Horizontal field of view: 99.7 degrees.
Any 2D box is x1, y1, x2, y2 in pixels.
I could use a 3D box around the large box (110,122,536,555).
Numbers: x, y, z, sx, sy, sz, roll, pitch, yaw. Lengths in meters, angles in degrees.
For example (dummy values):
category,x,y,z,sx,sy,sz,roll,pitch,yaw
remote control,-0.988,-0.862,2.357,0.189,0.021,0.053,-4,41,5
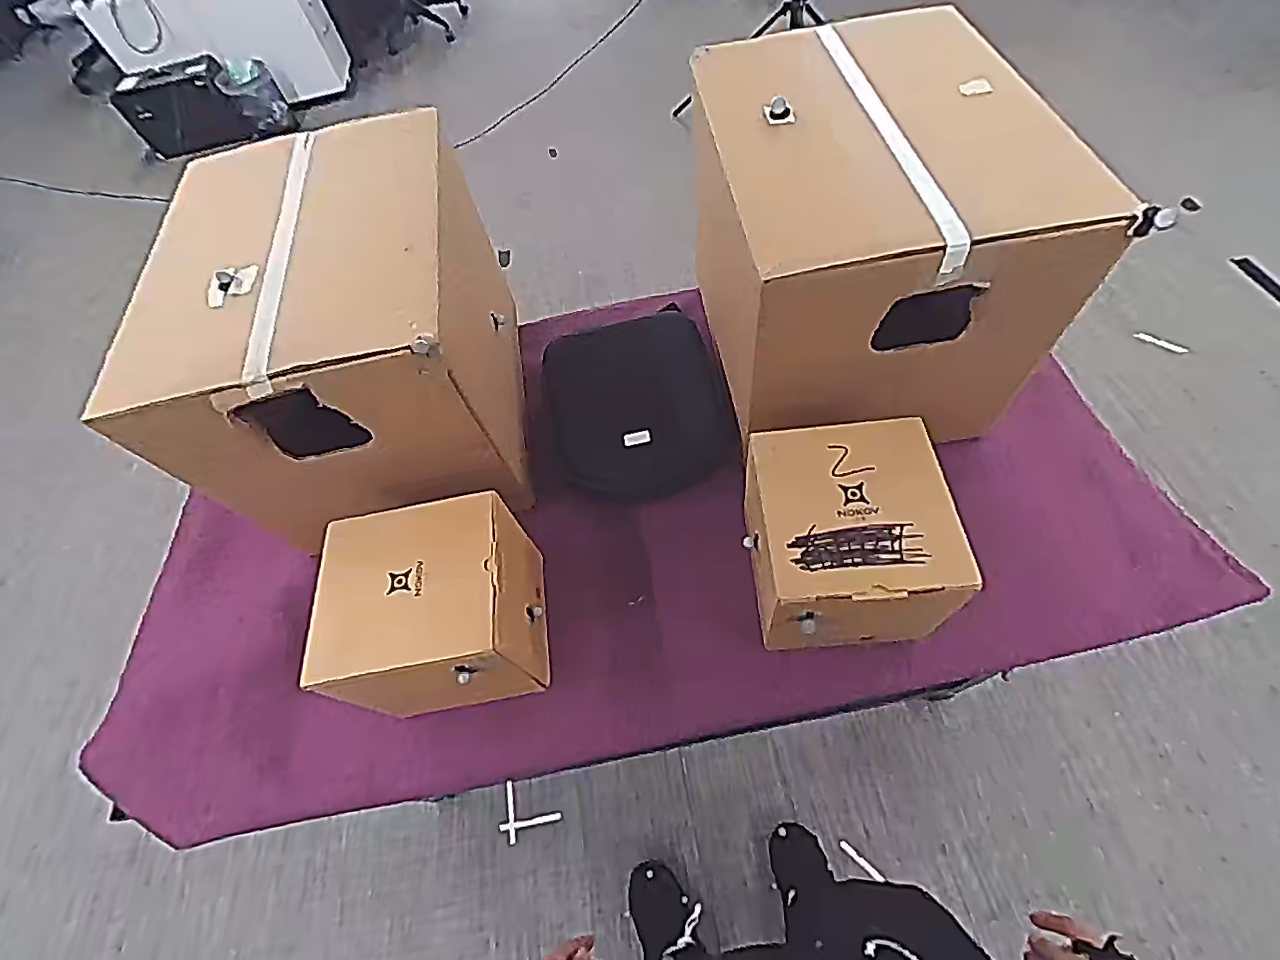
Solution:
category,x,y,z,sx,sy,sz,roll,pitch,yaw
large box,-0.341,-0.168,0.695,0.320,0.320,0.408,-14,61,0
